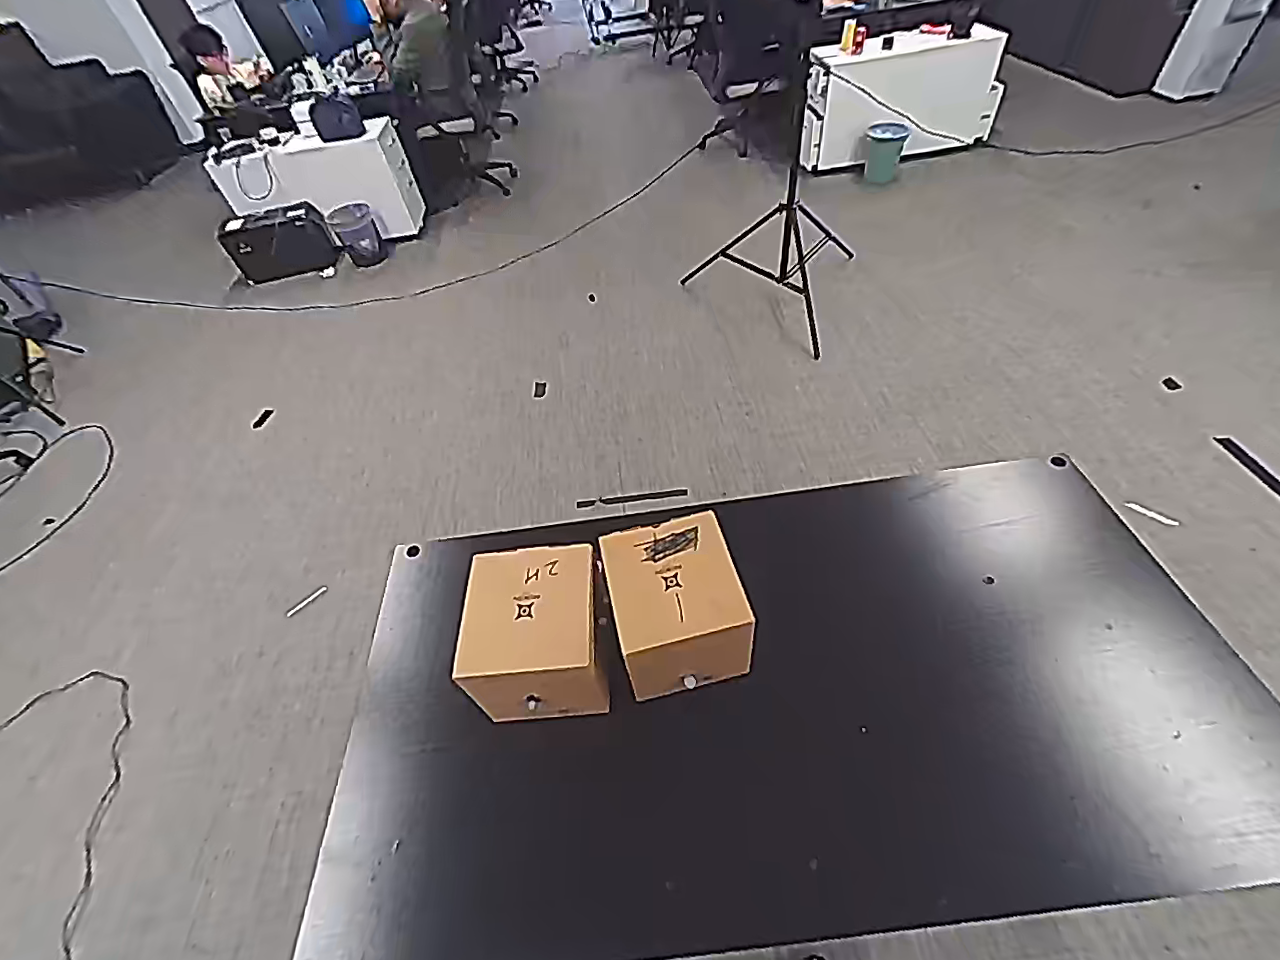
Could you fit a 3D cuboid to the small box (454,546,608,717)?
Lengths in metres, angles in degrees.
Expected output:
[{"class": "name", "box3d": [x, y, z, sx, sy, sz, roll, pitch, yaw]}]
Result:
[{"class": "small box", "box3d": [-0.137, 0.217, 0.753, 0.168, 0.176, 0.179, -6, 48, 2]}]
